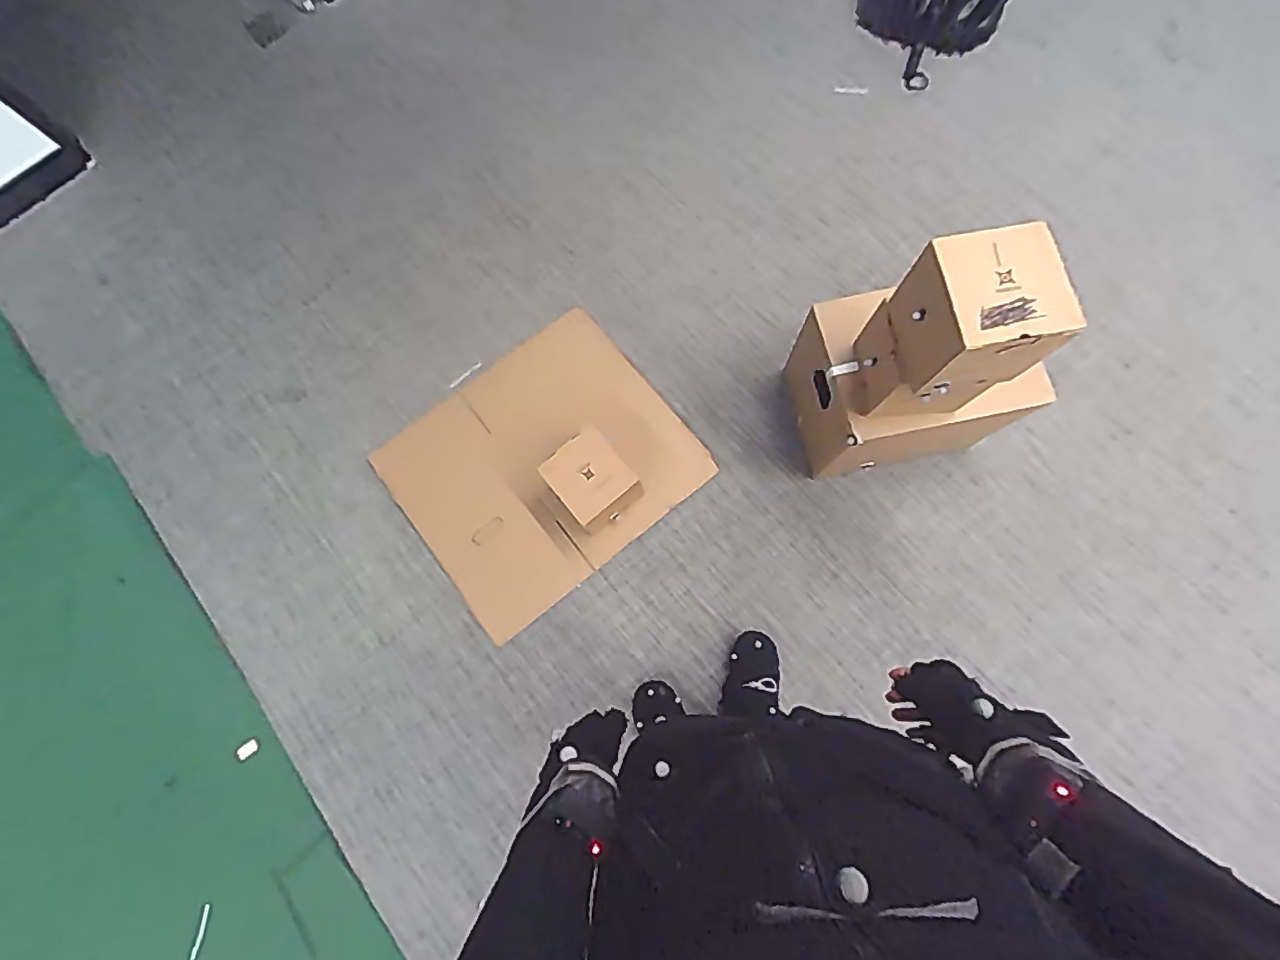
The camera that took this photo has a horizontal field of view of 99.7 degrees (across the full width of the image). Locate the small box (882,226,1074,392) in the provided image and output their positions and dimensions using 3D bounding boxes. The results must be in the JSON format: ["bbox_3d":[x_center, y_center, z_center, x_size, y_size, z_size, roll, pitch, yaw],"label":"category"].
[{"bbox_3d":[0.505,-0.250,0.837,0.168,0.176,0.179,-12,78,1],"label":"small box"}]

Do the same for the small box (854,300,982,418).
[{"bbox_3d":[0.514,-0.225,1.003,0.179,0.176,0.168,-6,75,1],"label":"small box"}]

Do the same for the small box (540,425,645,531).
[{"bbox_3d":[-0.106,0.004,1.287,0.168,0.176,0.179,-40,78,-4],"label":"small box"}]
